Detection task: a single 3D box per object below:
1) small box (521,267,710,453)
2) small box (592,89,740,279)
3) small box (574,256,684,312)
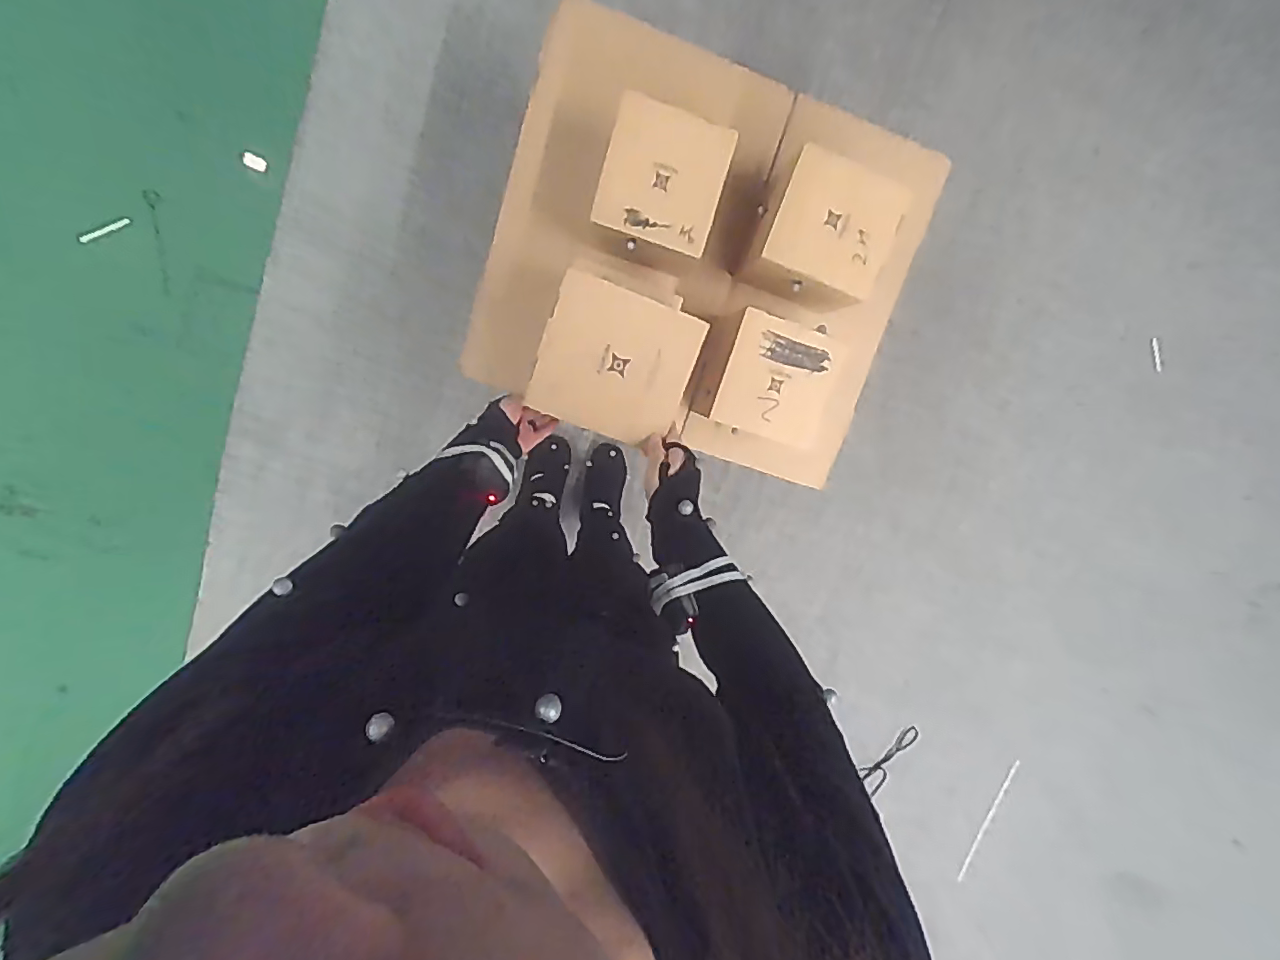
[{"bbox_3d":[-0.034,-0.149,0.698,0.179,0.176,0.168,20,100,-9],"label":"small box"},{"bbox_3d":[0.029,-0.426,0.812,0.168,0.176,0.179,17,98,-6],"label":"small box"},{"bbox_3d":[-0.046,-0.220,0.849,0.168,0.176,0.179,19,99,-8],"label":"small box"}]
